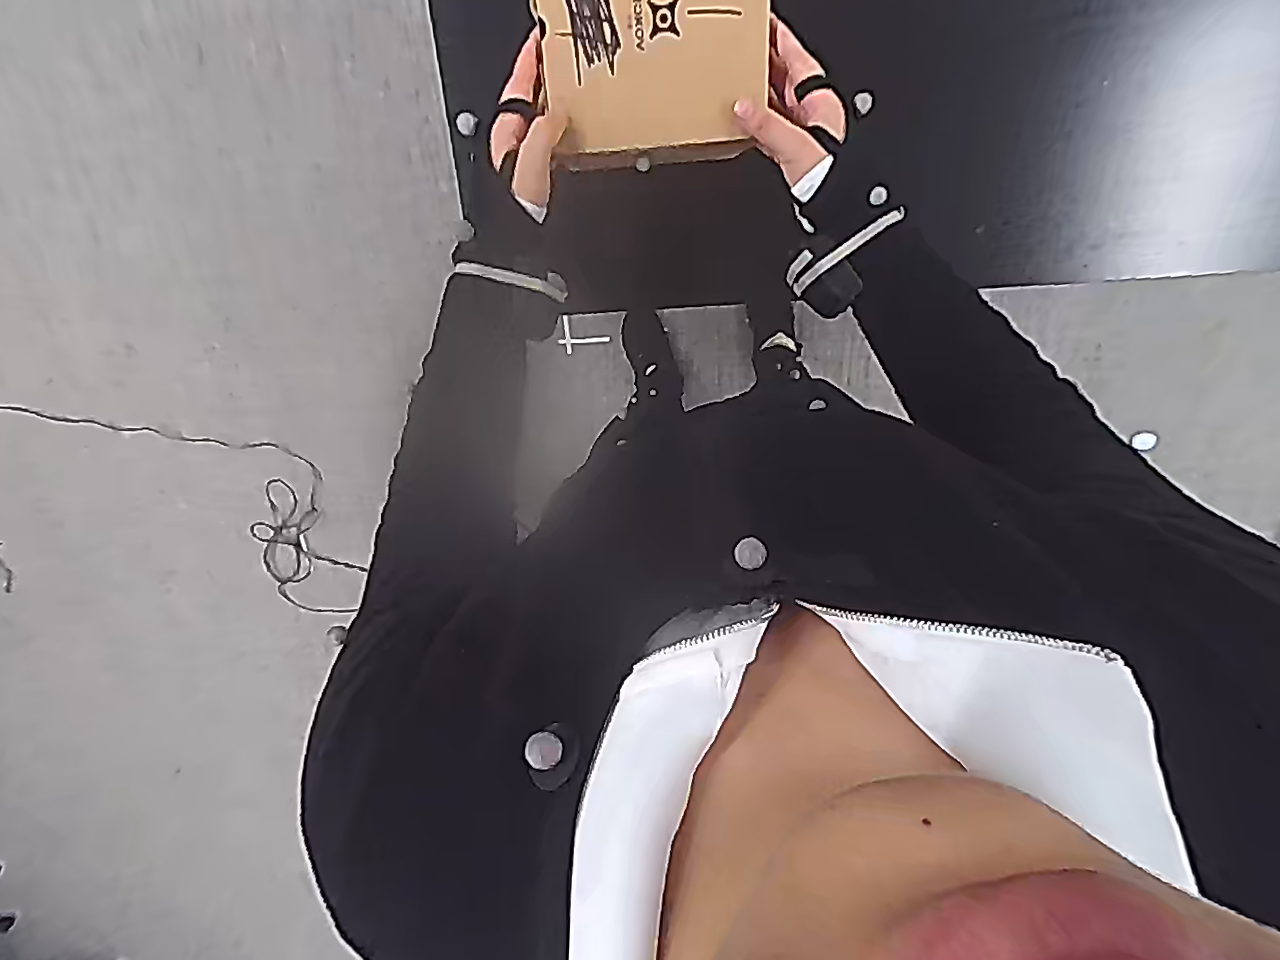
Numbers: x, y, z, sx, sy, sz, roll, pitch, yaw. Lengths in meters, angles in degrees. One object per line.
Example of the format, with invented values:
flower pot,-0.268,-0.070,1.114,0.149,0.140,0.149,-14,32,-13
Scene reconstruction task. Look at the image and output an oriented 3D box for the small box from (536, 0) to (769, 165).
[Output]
small box,0.010,-0.383,0.476,0.179,0.176,0.168,-4,116,1
